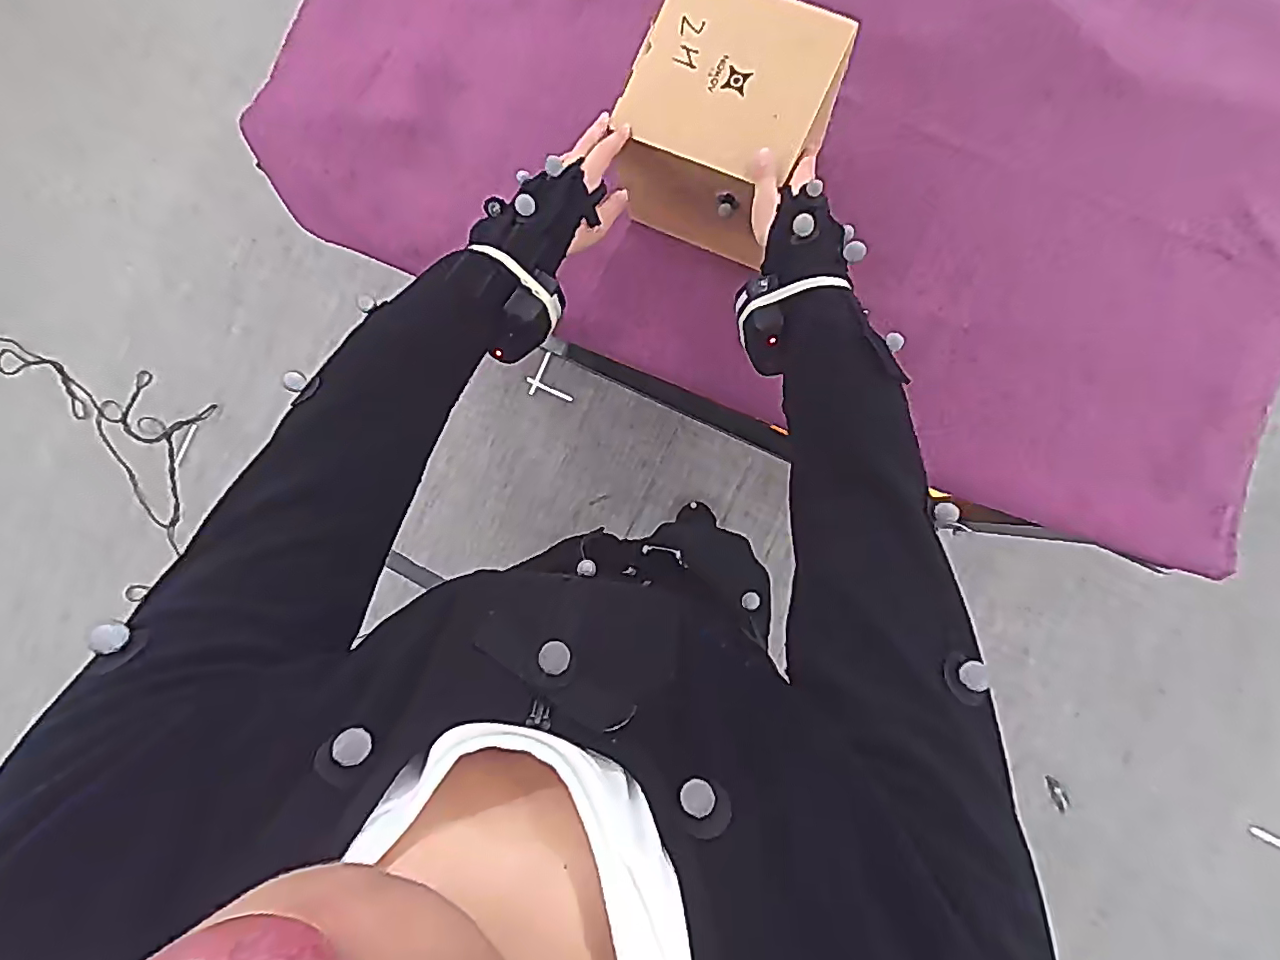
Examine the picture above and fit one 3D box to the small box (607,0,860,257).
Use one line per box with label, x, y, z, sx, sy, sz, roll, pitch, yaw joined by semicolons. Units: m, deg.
small box;0.091;-0.360;0.560;0.179;0.176;0.168;25;91;7
